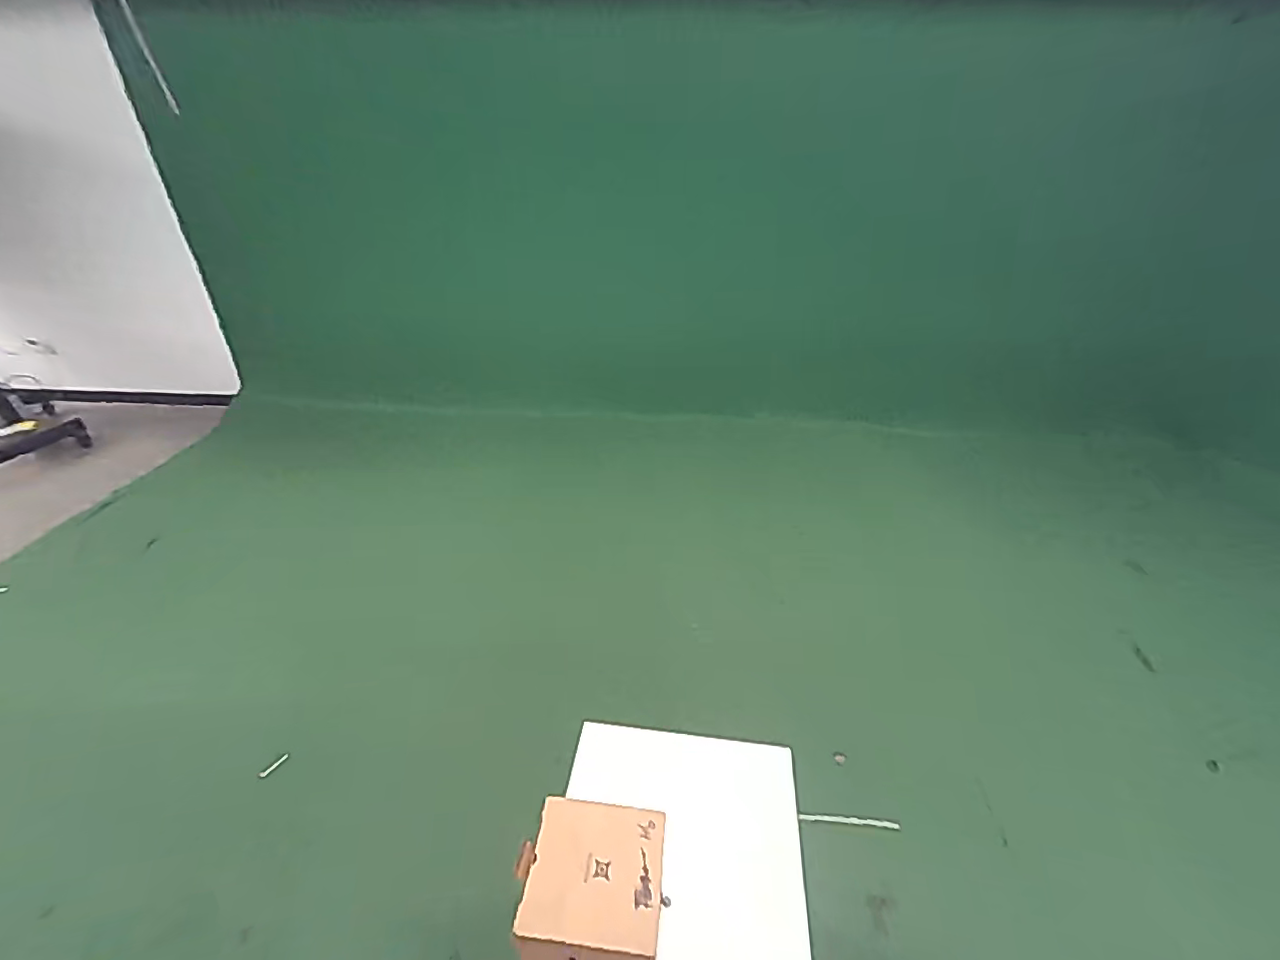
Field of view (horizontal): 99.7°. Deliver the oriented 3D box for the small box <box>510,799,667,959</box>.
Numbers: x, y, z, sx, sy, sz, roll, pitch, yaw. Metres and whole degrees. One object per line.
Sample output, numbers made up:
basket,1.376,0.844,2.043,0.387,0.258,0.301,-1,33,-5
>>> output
small box,-0.058,0.569,0.732,0.179,0.176,0.168,4,32,5
